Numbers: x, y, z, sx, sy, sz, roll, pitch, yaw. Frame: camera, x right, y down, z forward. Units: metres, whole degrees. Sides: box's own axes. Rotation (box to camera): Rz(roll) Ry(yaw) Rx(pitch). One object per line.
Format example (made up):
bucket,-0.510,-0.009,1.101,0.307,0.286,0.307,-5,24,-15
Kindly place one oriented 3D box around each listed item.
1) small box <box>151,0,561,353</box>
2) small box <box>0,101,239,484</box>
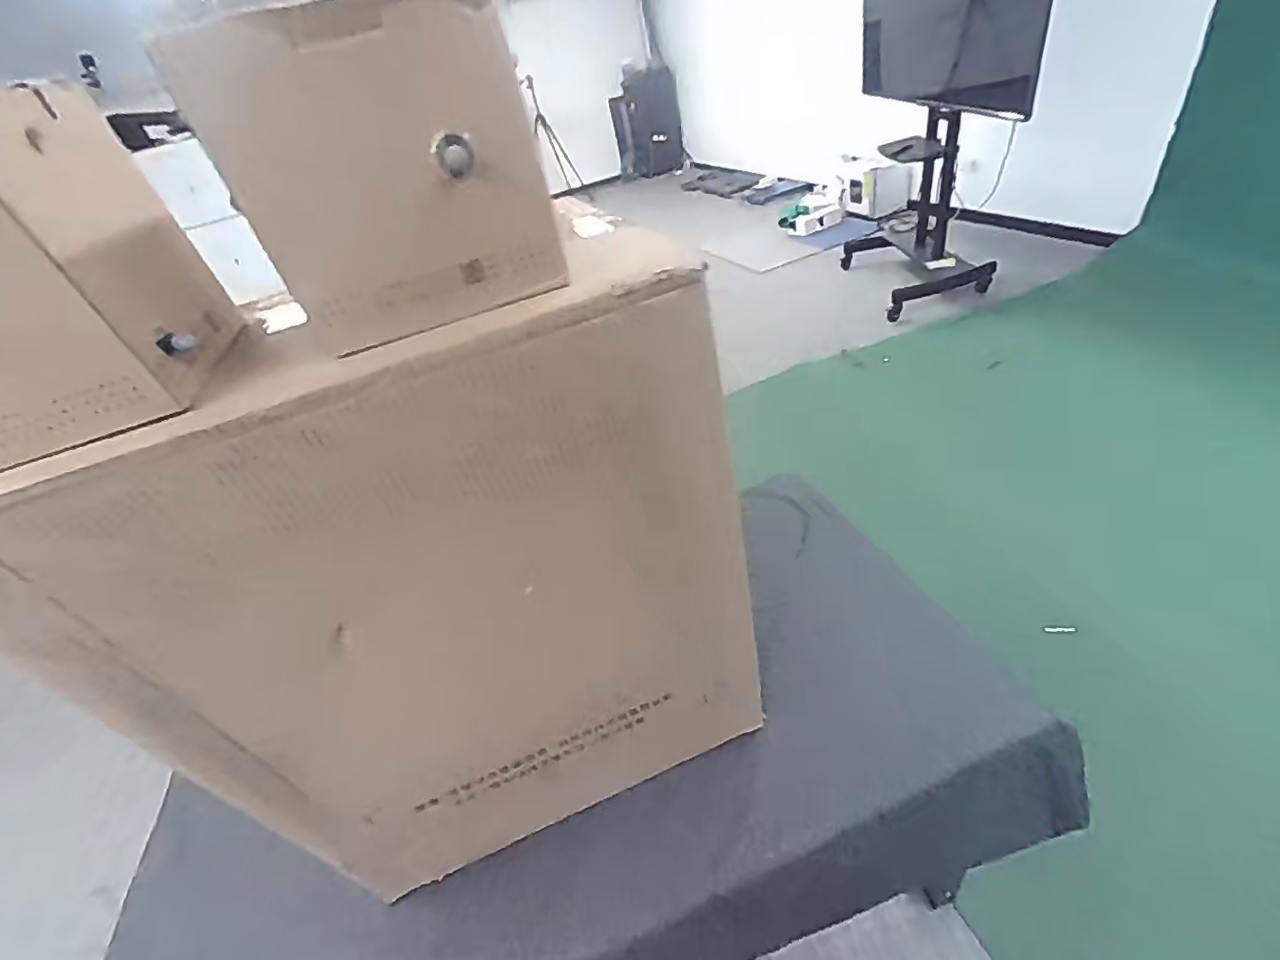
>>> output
small box,-0.165,-0.206,0.377,0.168,0.176,0.179,-20,38,-9
small box,-0.394,-0.111,0.331,0.179,0.176,0.168,-22,40,-11
